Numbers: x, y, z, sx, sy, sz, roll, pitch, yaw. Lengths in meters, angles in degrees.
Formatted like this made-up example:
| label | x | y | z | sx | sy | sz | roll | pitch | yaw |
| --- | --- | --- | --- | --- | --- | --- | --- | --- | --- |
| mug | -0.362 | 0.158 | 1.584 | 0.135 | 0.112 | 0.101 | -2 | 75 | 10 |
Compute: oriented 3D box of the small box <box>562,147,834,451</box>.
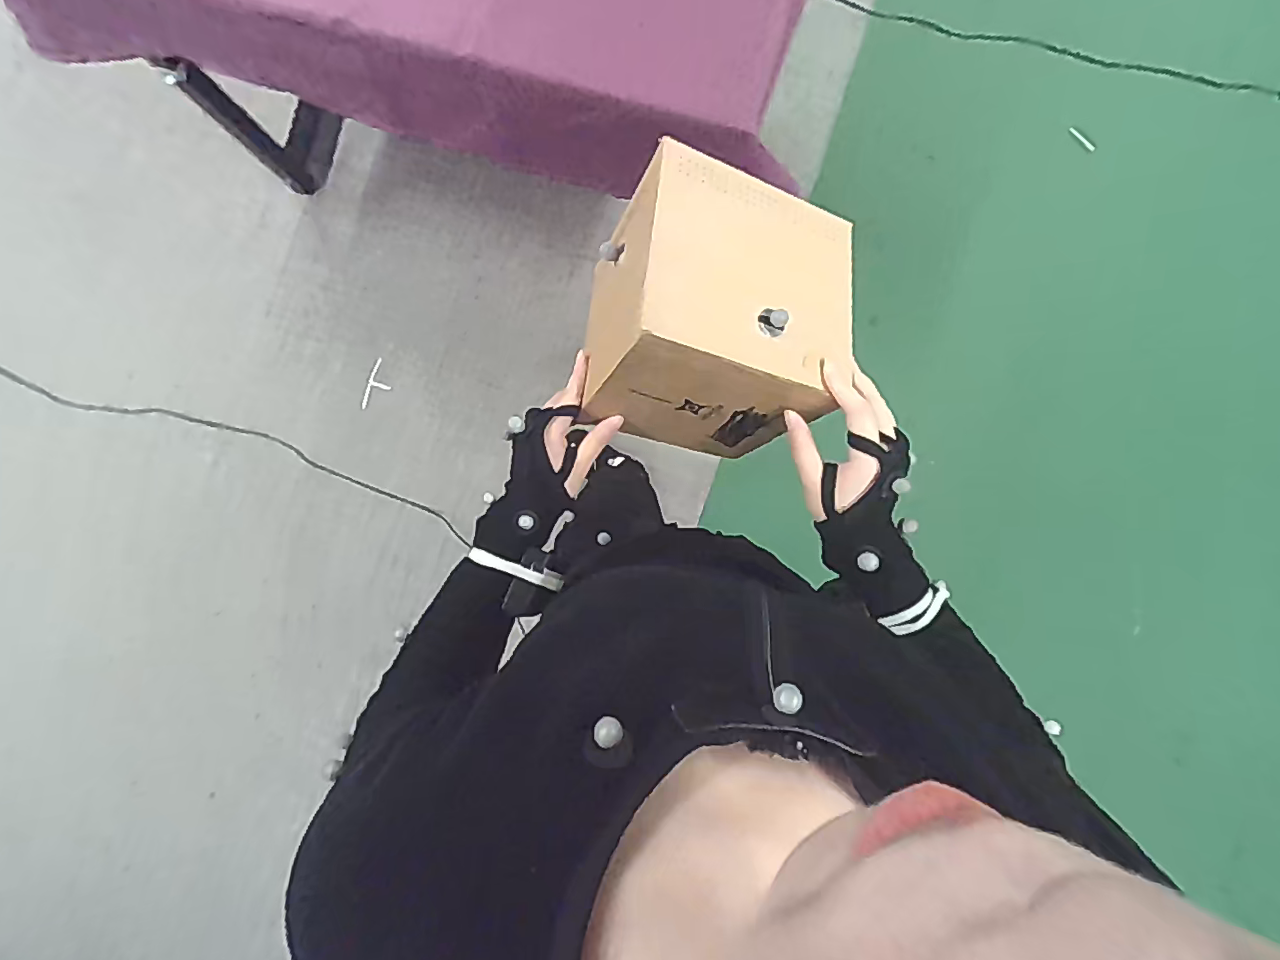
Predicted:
| label | x | y | z | sx | sy | sz | roll | pitch | yaw |
| --- | --- | --- | --- | --- | --- | --- | --- | --- | --- |
| small box | 0.047 | -0.142 | 0.471 | 0.179 | 0.168 | 0.176 | 13 | 72 | -19 |
